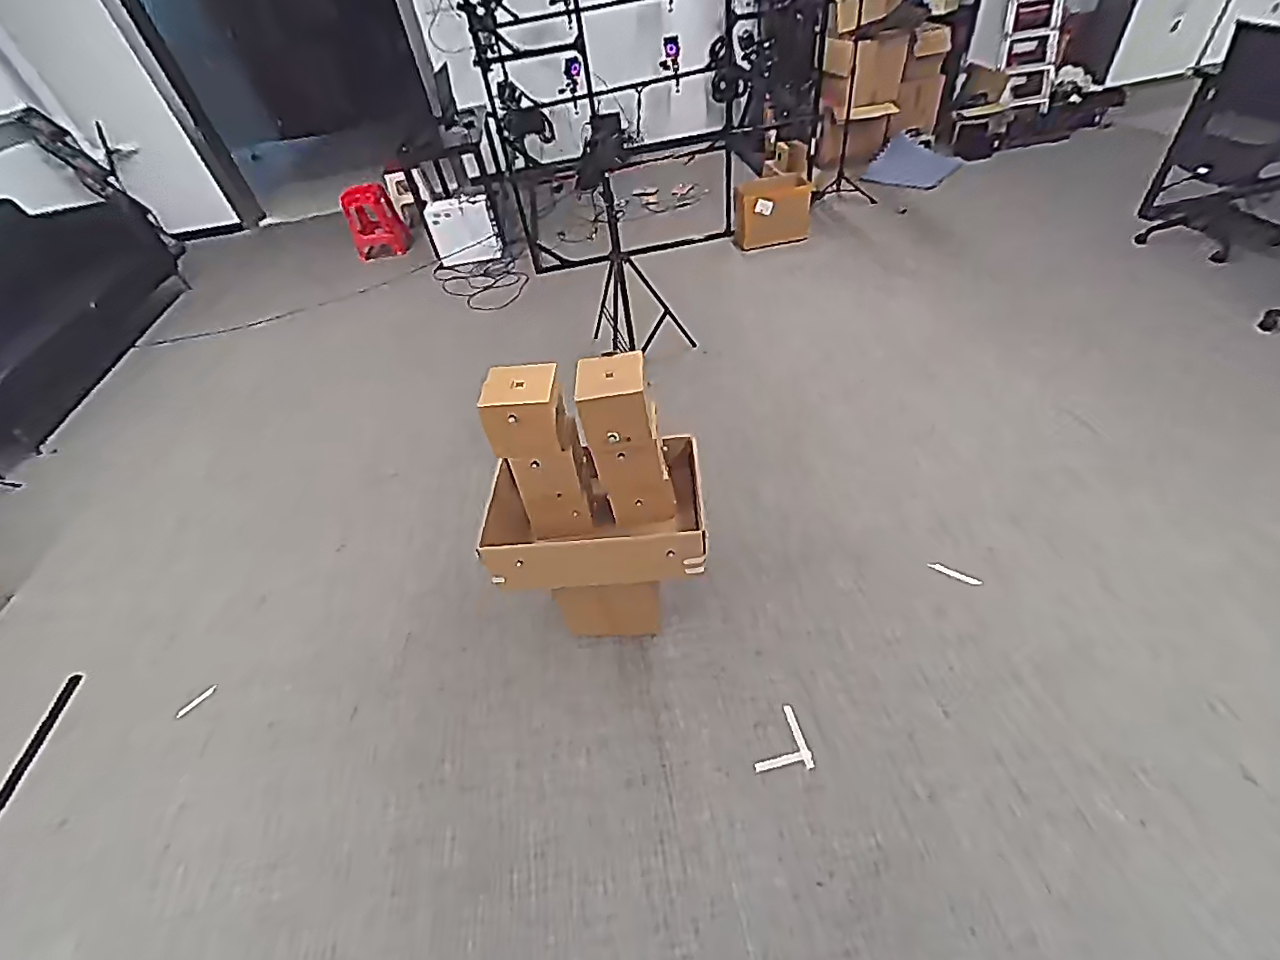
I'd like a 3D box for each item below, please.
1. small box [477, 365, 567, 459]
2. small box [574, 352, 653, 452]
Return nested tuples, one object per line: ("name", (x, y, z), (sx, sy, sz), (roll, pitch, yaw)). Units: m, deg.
("small box", (-0.289, -0.170, 1.371), (0.179, 0.176, 0.168), (-4, 45, 4))
("small box", (-0.062, -0.194, 1.351), (0.168, 0.176, 0.179), (-8, 44, 6))
